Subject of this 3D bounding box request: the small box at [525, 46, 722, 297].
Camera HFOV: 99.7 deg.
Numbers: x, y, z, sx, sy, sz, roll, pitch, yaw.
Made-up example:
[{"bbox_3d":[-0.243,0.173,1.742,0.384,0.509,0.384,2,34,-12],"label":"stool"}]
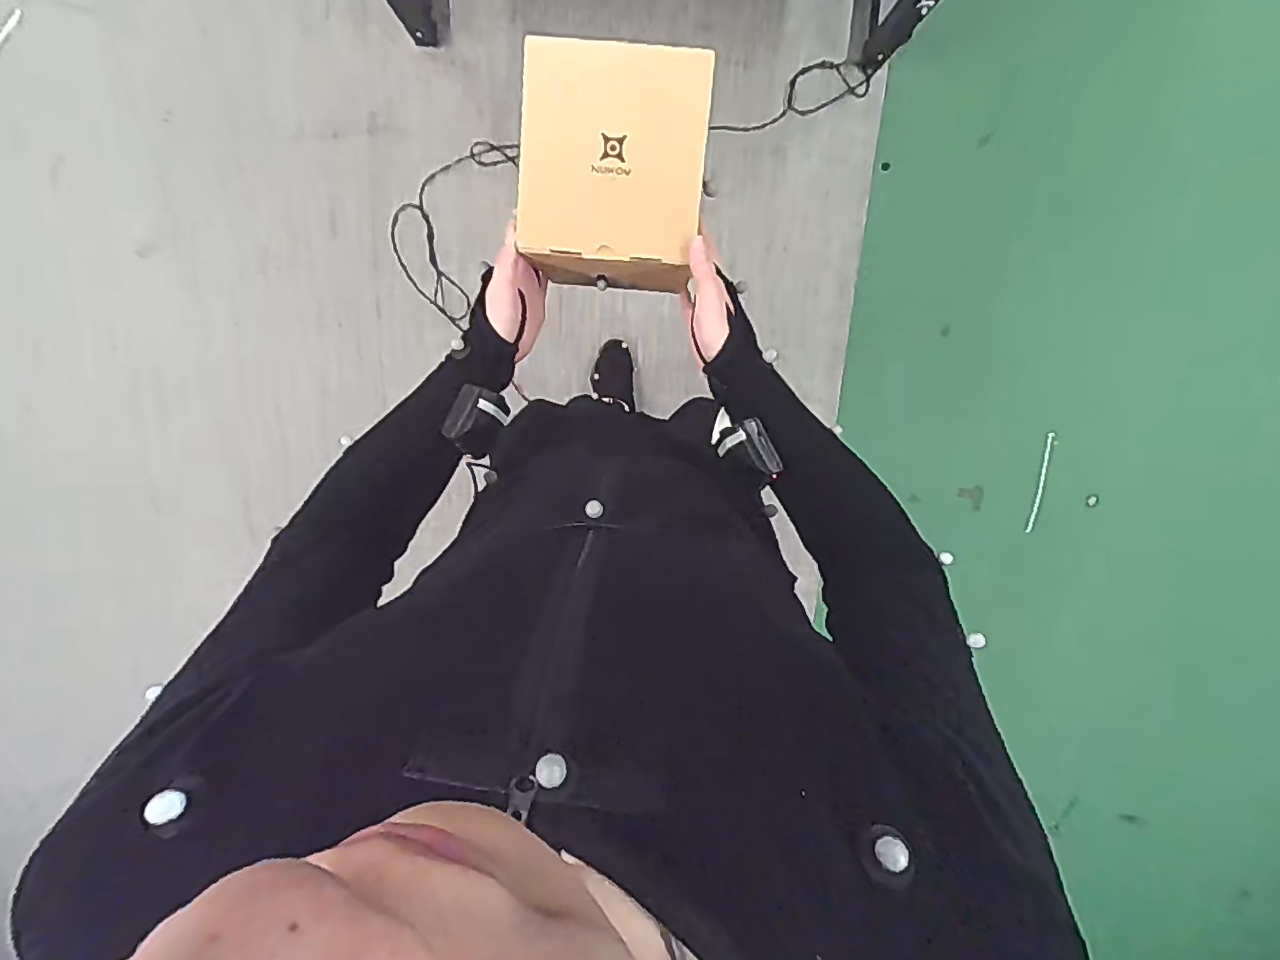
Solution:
[{"bbox_3d":[-0.019,-0.297,0.560,0.168,0.176,0.179,5,103,-1],"label":"small box"}]
